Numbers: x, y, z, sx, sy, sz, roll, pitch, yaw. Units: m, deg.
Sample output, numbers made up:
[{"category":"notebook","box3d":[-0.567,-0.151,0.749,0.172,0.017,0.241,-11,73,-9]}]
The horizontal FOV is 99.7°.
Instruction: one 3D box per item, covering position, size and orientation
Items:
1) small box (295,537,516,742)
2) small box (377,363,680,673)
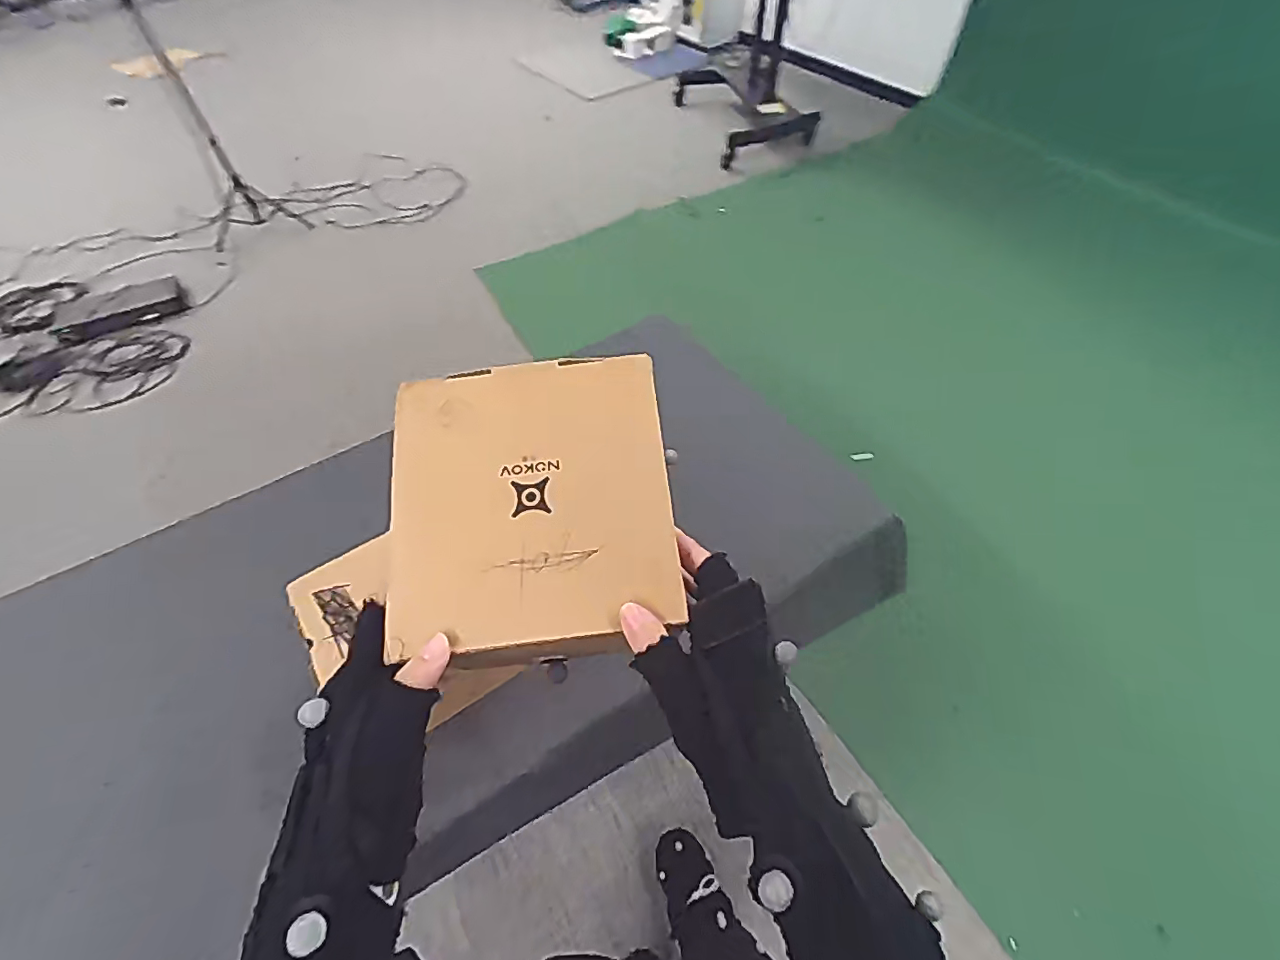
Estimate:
[{"category":"small box","box3d":[-0.260,0.177,0.640,0.179,0.176,0.168,-29,57,-19]},{"category":"small box","box3d":[-0.064,0.040,0.394,0.168,0.176,0.179,-6,69,0]}]
